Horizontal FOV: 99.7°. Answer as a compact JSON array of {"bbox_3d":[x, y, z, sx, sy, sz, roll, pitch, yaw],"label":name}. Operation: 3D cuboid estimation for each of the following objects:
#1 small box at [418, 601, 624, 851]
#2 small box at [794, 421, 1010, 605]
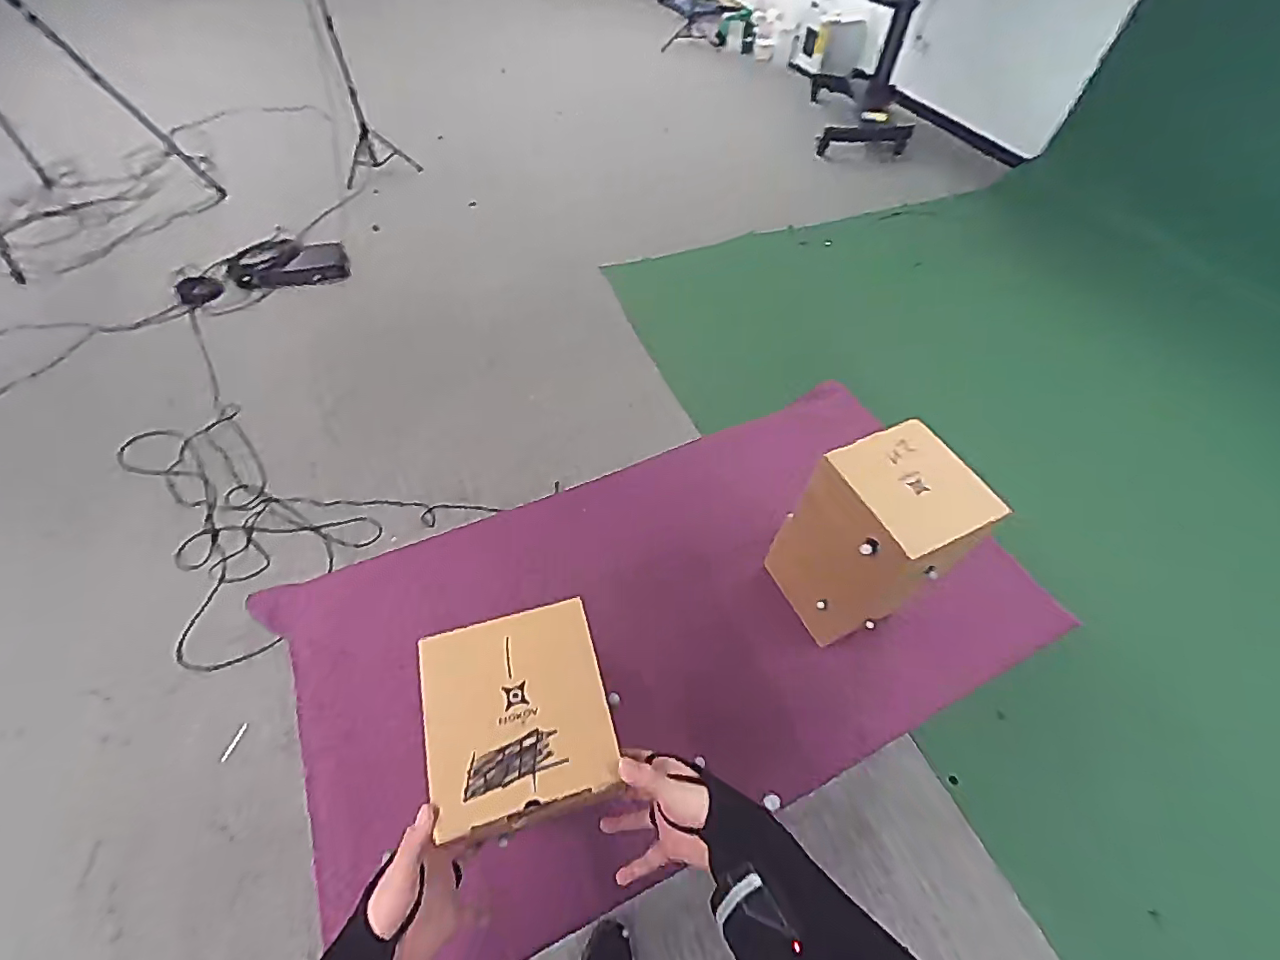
[{"bbox_3d":[-0.114,0.251,0.552,0.168,0.176,0.179,-12,57,-11],"label":"small box"},{"bbox_3d":[0.345,0.054,0.750,0.168,0.176,0.179,-19,57,-17],"label":"small box"}]
